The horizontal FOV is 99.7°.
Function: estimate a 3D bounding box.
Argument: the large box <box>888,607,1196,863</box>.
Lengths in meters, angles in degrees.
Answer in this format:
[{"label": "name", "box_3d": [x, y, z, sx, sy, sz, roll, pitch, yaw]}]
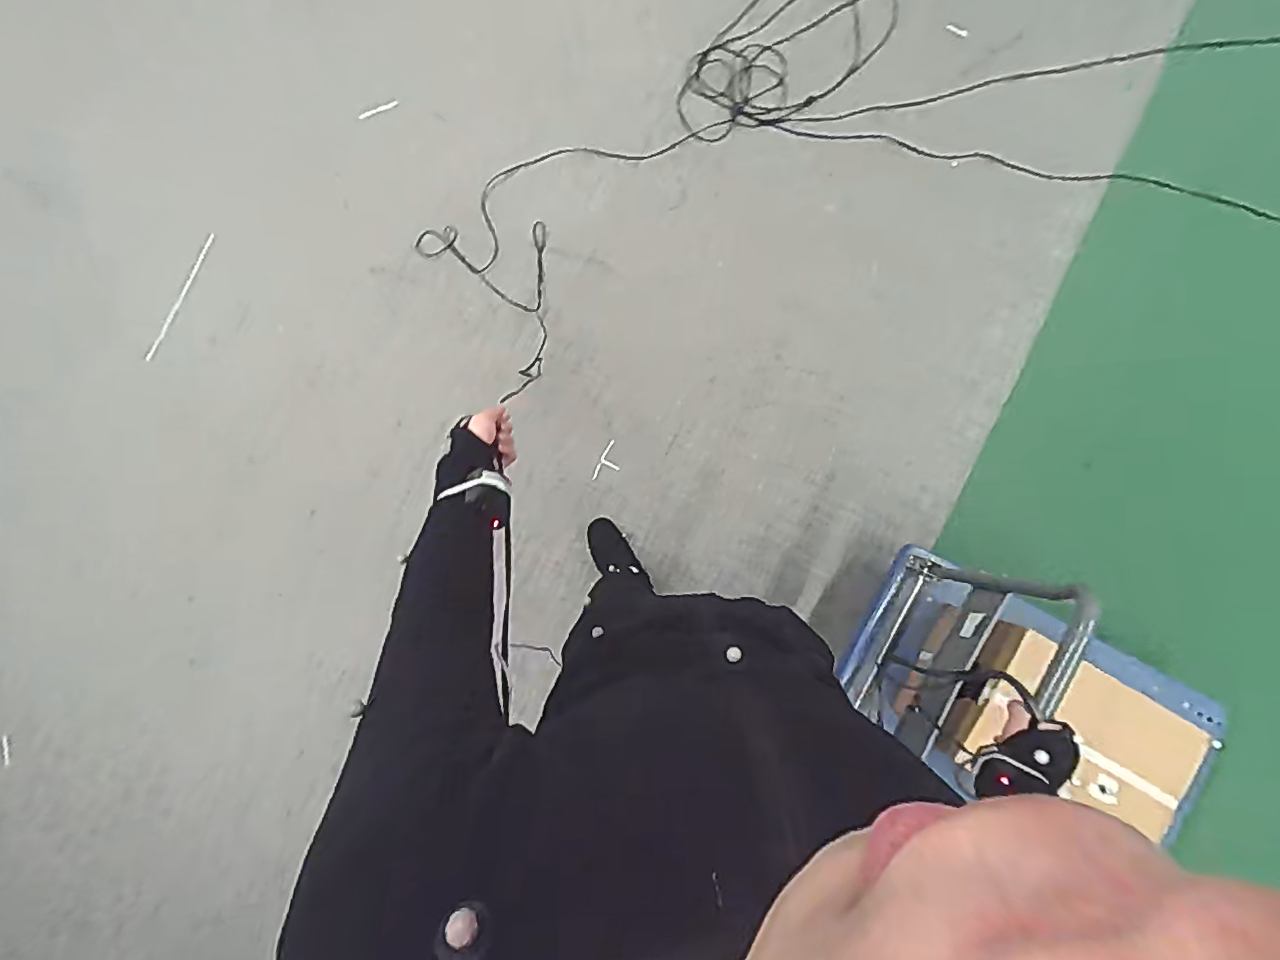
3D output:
[{"label": "large box", "box_3d": [0.867, 0.537, 1.230, 0.408, 0.320, 0.320, 31, 88, 4]}]
